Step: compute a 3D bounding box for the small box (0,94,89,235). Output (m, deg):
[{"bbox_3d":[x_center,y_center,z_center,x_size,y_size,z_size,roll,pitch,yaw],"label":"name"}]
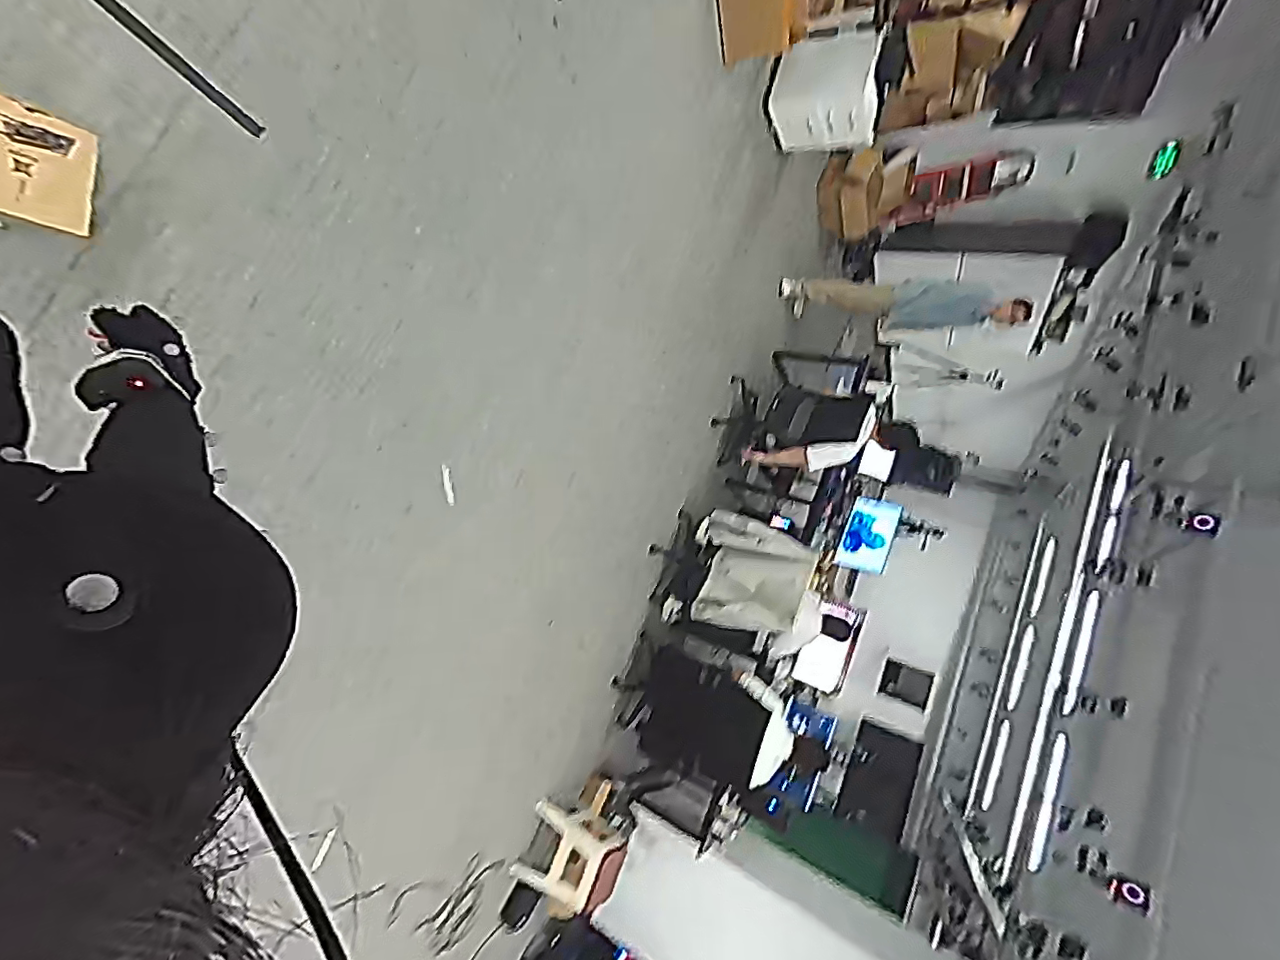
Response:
[{"bbox_3d":[-1.064,-0.529,0.895,0.168,0.176,0.179,5,100,-60],"label":"small box"}]
